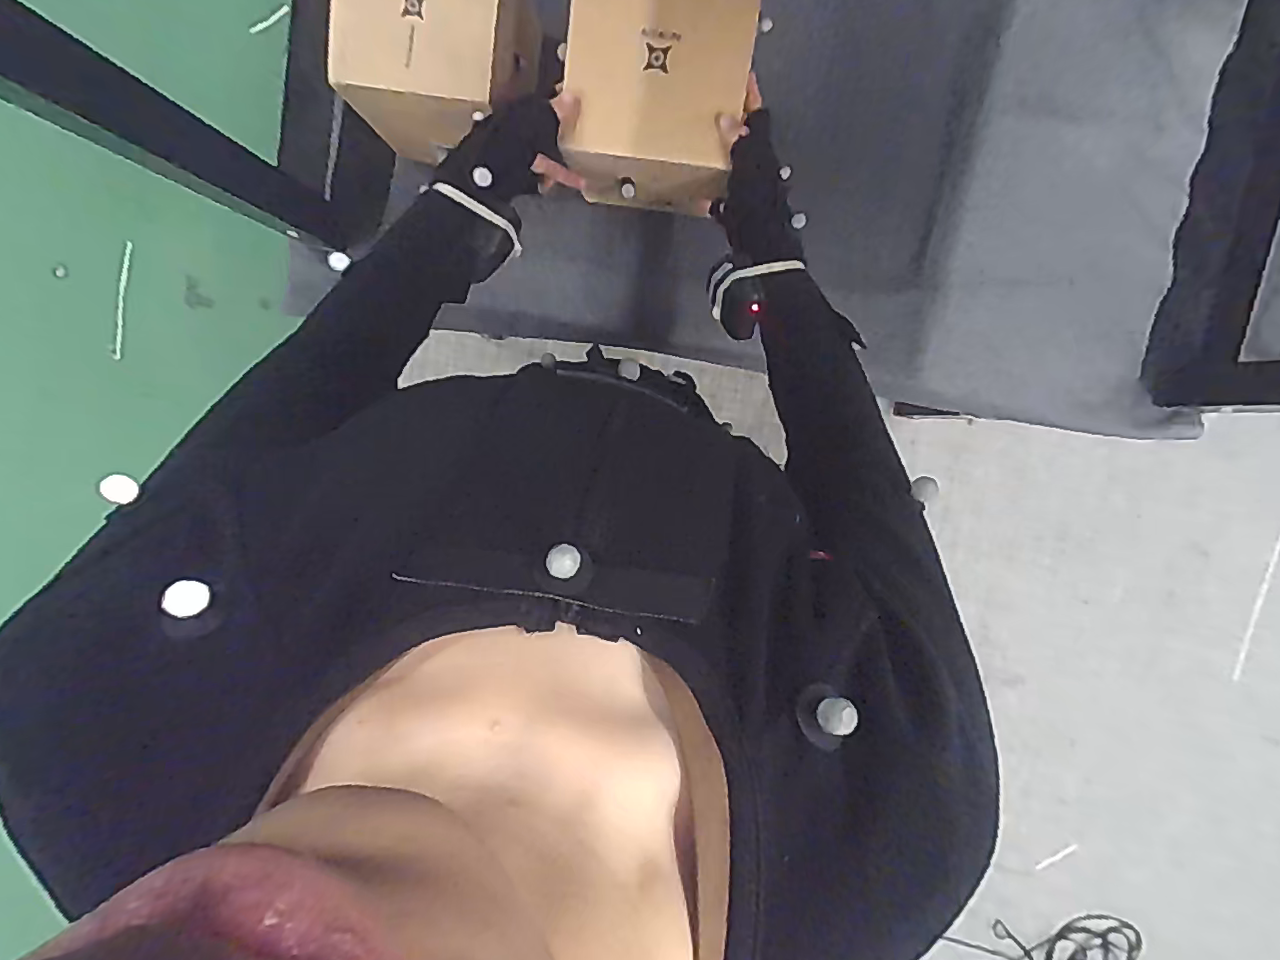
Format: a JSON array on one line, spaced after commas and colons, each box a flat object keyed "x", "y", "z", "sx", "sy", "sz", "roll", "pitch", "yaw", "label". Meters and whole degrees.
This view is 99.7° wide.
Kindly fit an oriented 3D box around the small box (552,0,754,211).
[{"x": 0.017, "y": -0.394, "z": 0.550, "sx": 0.168, "sy": 0.176, "sz": 0.179, "roll": 8, "pitch": 101, "yaw": 2, "label": "small box"}]

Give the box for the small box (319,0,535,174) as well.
[{"x": -0.220, "y": -0.478, "z": 0.601, "sx": 0.168, "sy": 0.176, "sz": 0.179, "roll": 9, "pitch": 97, "yaw": 1, "label": "small box"}]
